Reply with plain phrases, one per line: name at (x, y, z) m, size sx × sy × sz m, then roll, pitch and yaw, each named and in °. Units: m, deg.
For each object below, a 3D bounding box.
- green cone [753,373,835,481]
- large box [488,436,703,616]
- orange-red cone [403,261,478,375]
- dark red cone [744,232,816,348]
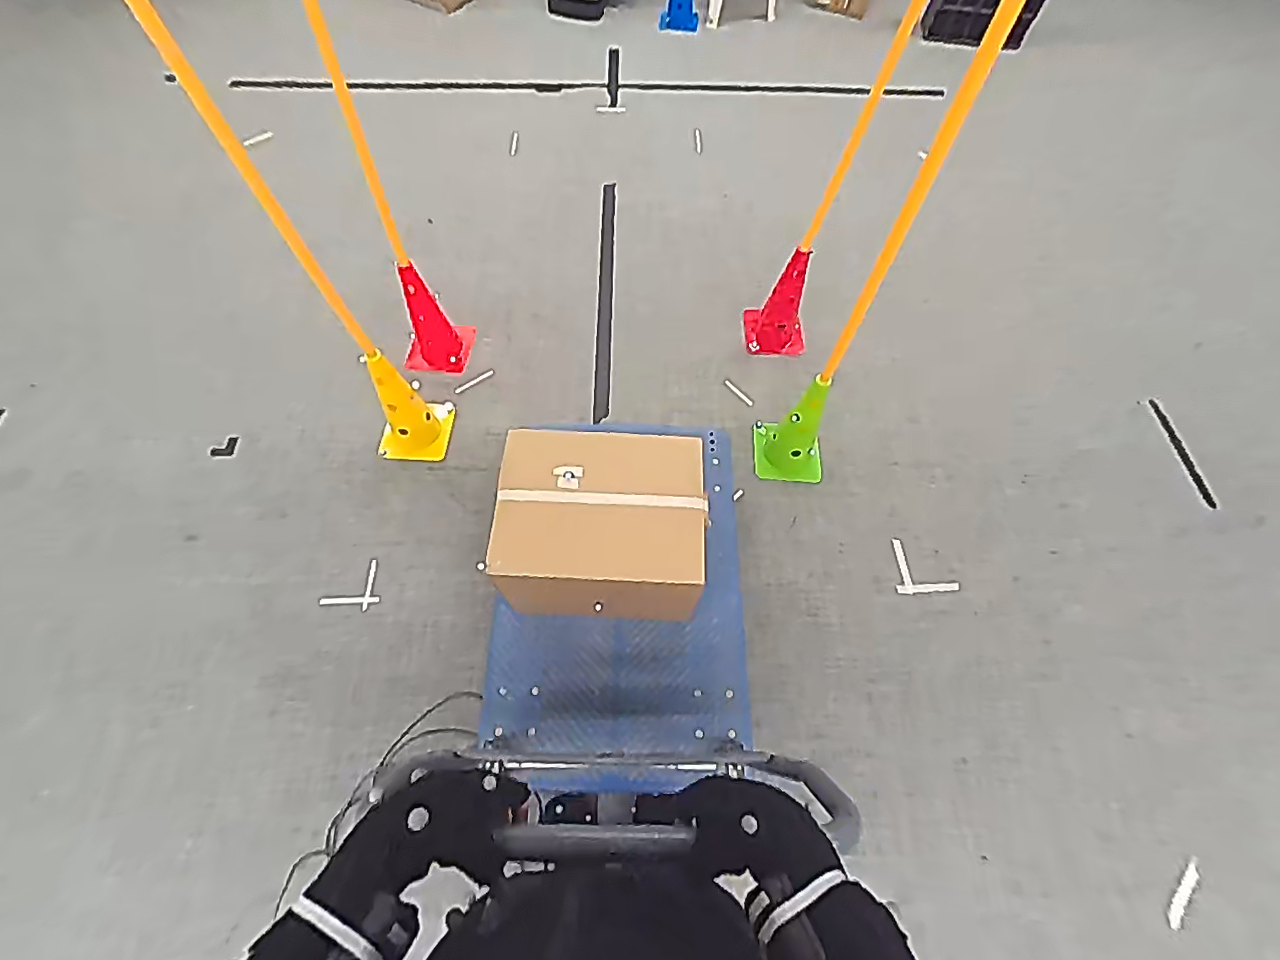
green cone at (0.459, -0.169, 1.514) m, size 0.202 × 0.368 × 0.200 m, roll 4°, pitch 63°, yaw -1°
large box at (-0.078, 0.114, 1.193) m, size 0.408 × 0.320 × 0.320 m, roll 2°, pitch 63°, yaw 1°
orange-red cone at (-0.656, -0.520, 1.669) m, size 0.198 × 0.360 × 0.199 m, roll 7°, pitch 61°, yaw 1°
dark red cone at (0.474, -0.608, 1.720) m, size 0.201 × 0.394 × 0.202 m, roll 1°, pitch 63°, yaw -3°
